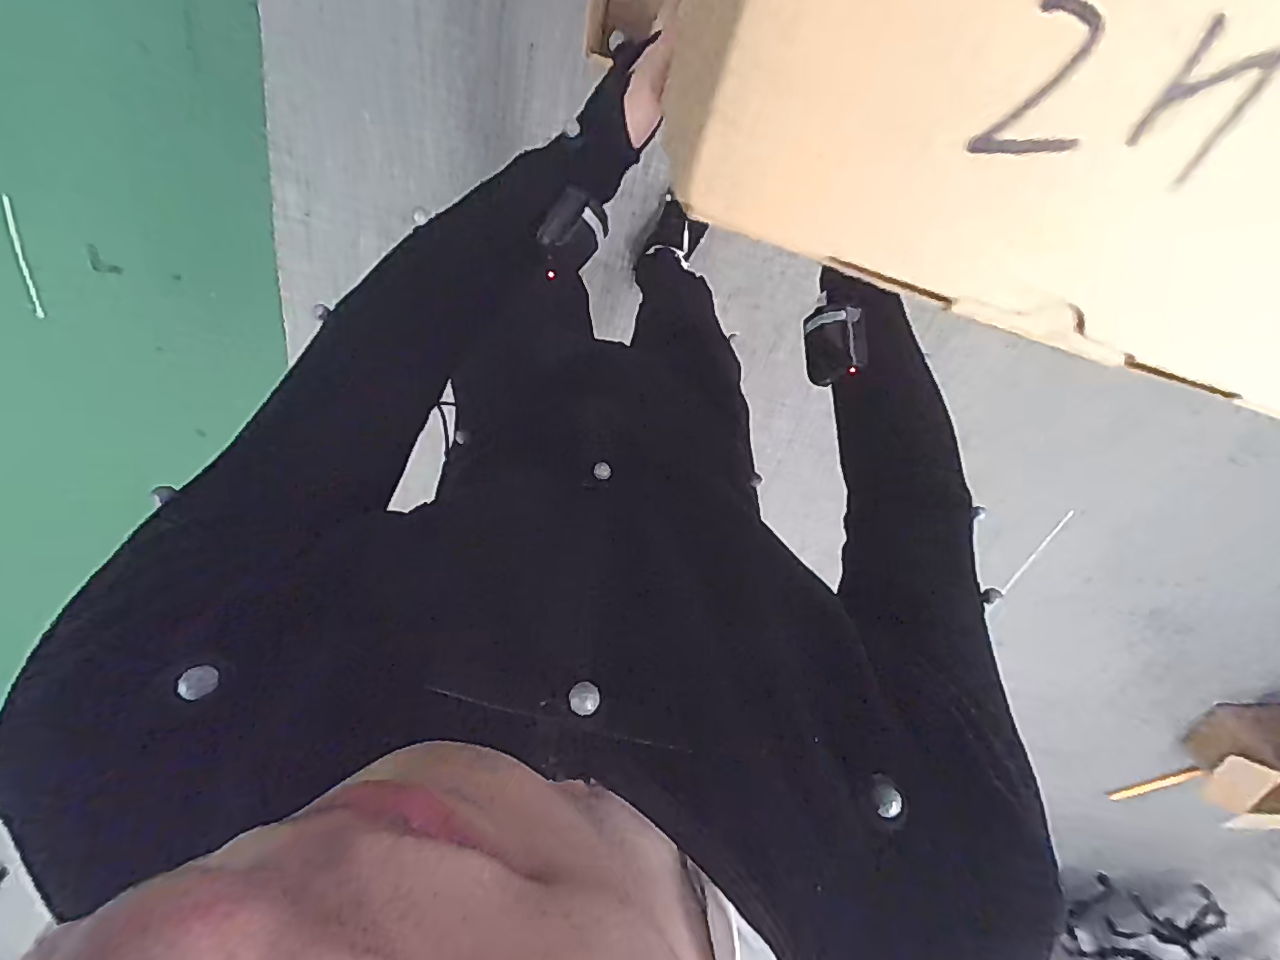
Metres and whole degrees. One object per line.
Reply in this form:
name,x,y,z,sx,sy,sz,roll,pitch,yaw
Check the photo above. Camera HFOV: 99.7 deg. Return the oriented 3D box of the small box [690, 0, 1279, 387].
small box,0.115,-0.150,0.129,0.168,0.176,0.179,15,125,-9
